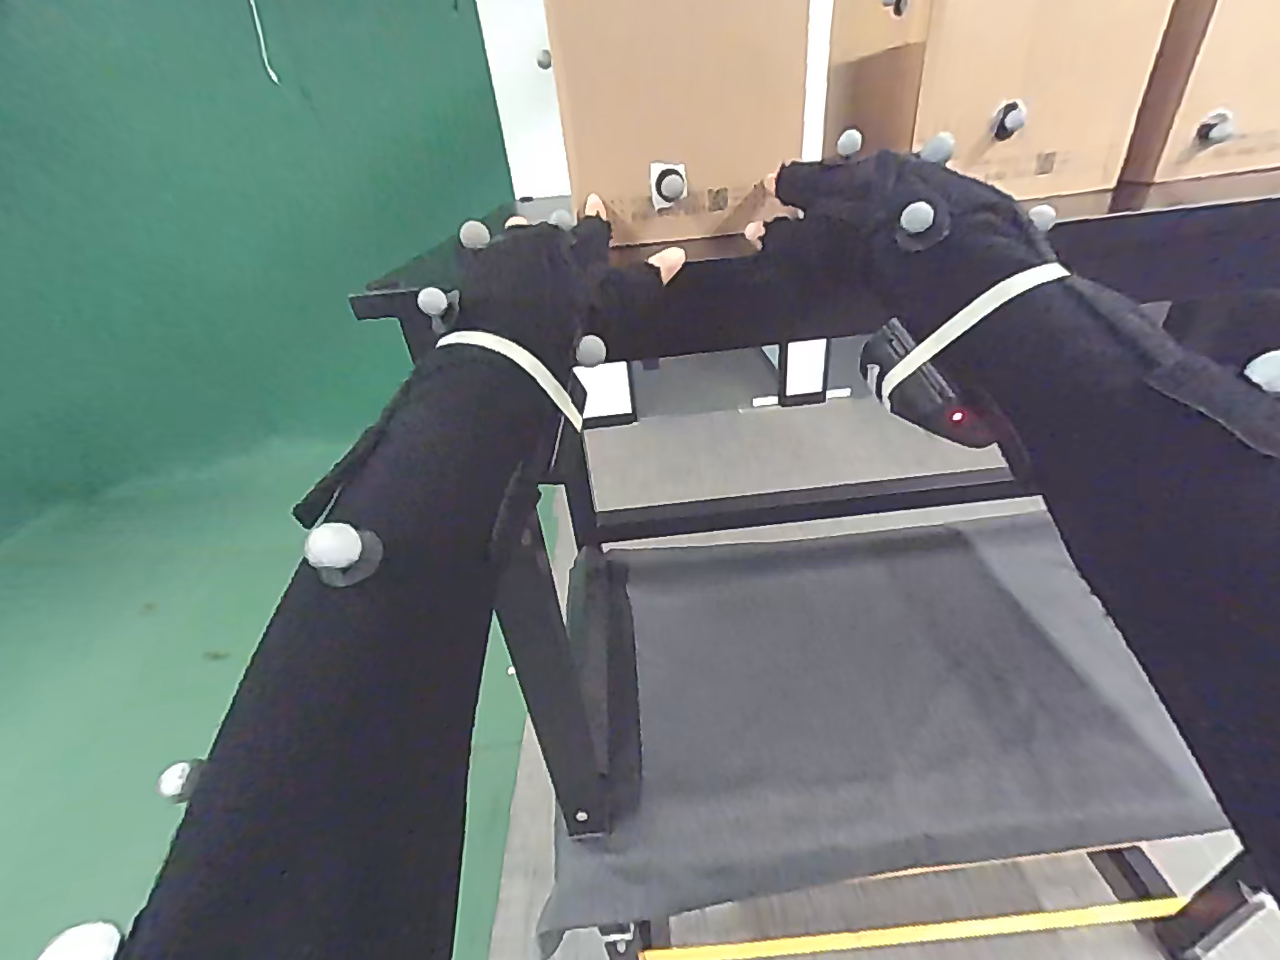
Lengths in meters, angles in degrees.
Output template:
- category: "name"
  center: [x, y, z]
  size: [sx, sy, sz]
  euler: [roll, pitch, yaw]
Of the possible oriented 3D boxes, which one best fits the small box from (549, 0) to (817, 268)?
- category: "small box"
  center: [0.027, -0.277, 0.433]
  size: [0.168, 0.176, 0.179]
  euler: [-8, 33, 0]
